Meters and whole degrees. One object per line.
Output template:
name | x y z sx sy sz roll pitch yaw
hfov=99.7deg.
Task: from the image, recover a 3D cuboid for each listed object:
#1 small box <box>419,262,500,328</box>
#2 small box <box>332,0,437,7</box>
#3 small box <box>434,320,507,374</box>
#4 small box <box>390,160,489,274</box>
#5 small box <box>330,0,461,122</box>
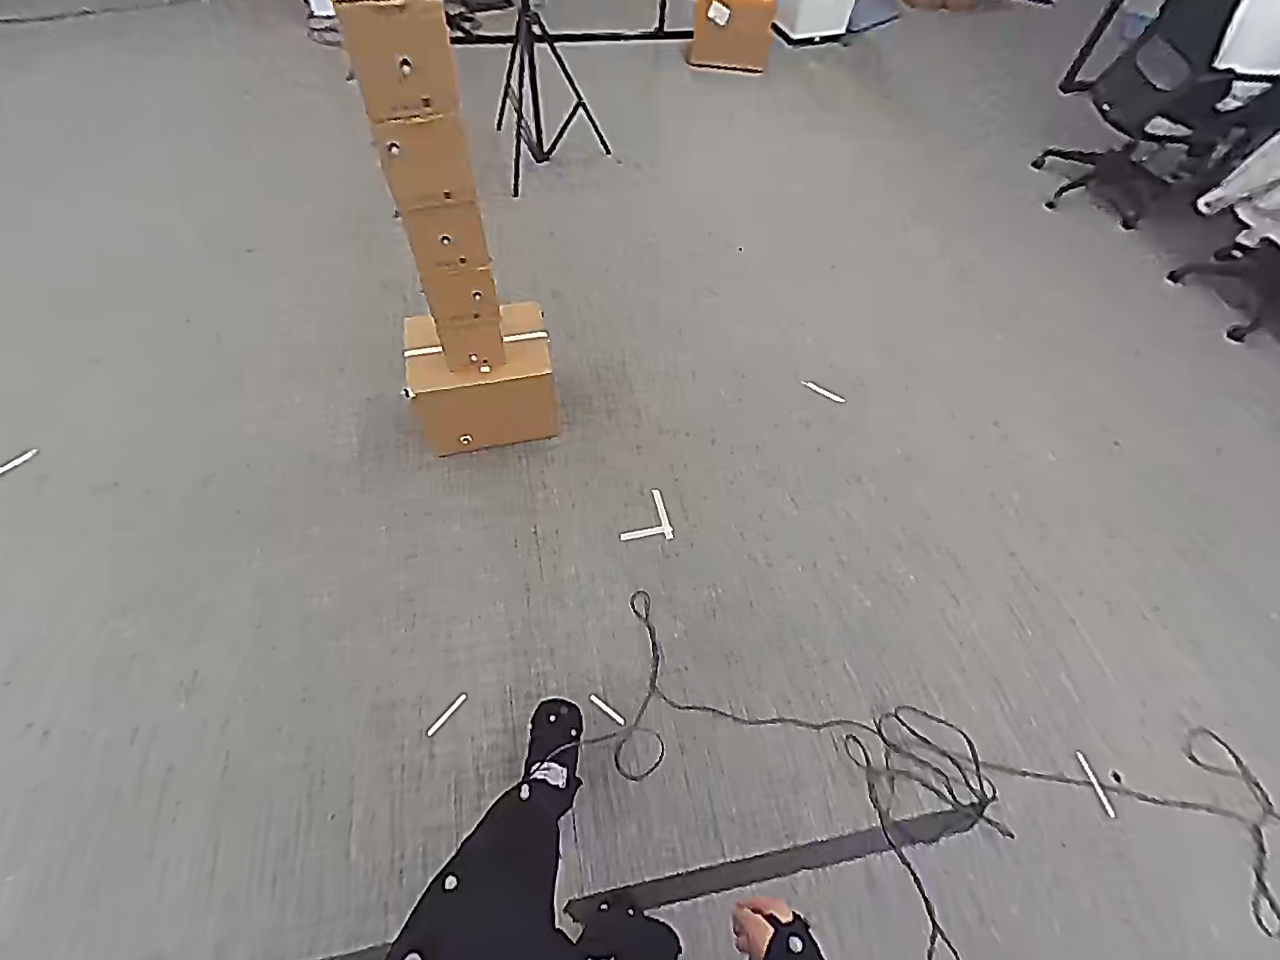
small box | -0.458 -0.503 1.373 0.168 0.176 0.179 -12 59 -12
small box | -0.418 -0.846 0.816 0.168 0.176 0.179 -19 61 -15
small box | -0.473 -0.423 1.512 0.168 0.176 0.179 -11 61 -10
small box | -0.452 -0.591 1.234 0.168 0.176 0.179 -15 61 -14
small box | -0.429 -0.759 0.953 0.168 0.176 0.179 -18 63 -16
